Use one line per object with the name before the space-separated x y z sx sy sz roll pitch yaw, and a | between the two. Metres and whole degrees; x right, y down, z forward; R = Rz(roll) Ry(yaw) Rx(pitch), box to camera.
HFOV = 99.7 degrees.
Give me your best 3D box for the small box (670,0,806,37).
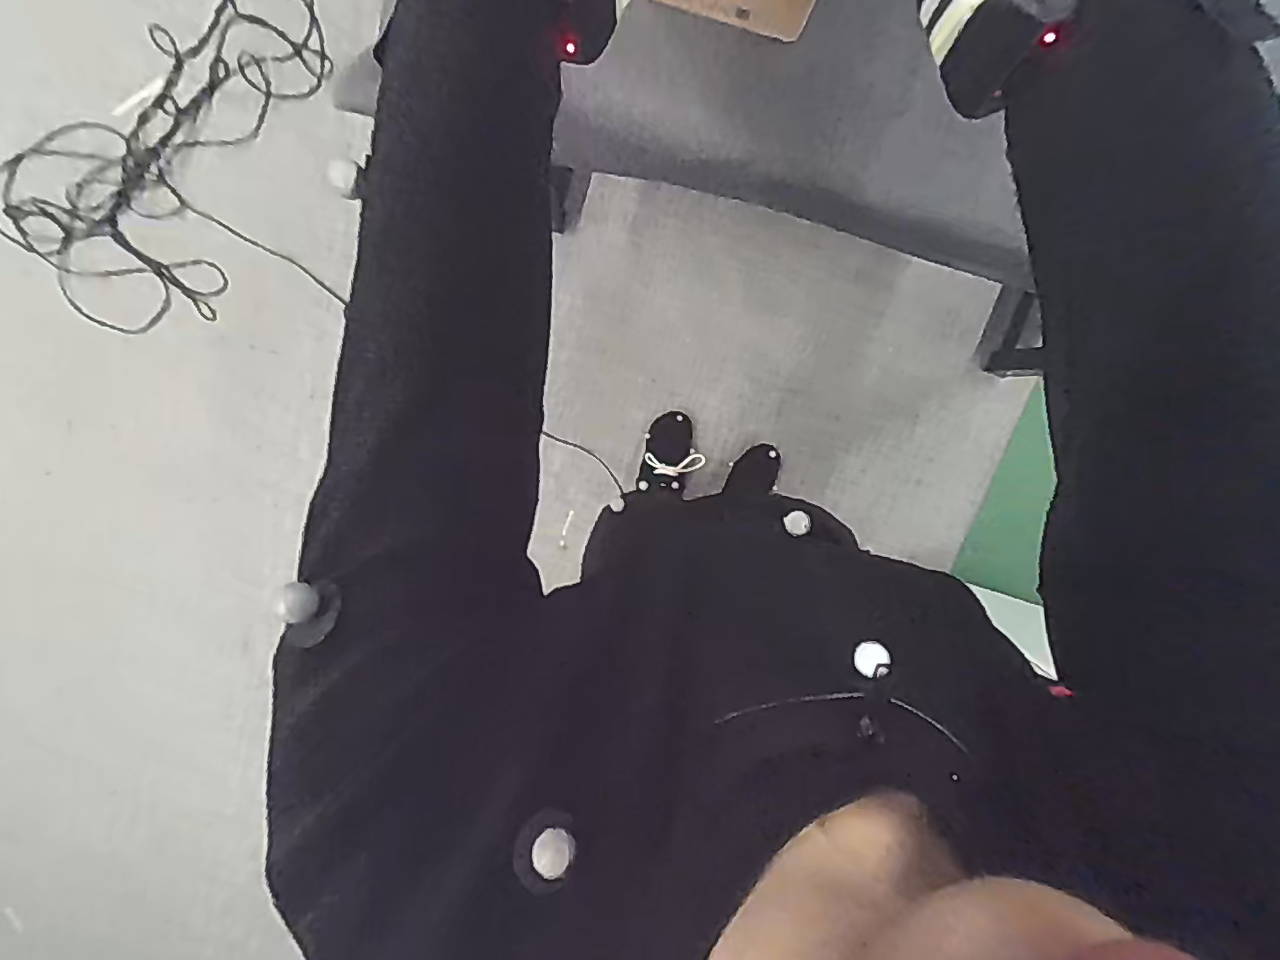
small box | 0.099 -0.538 0.453 0.168 0.176 0.179 16 99 -3
